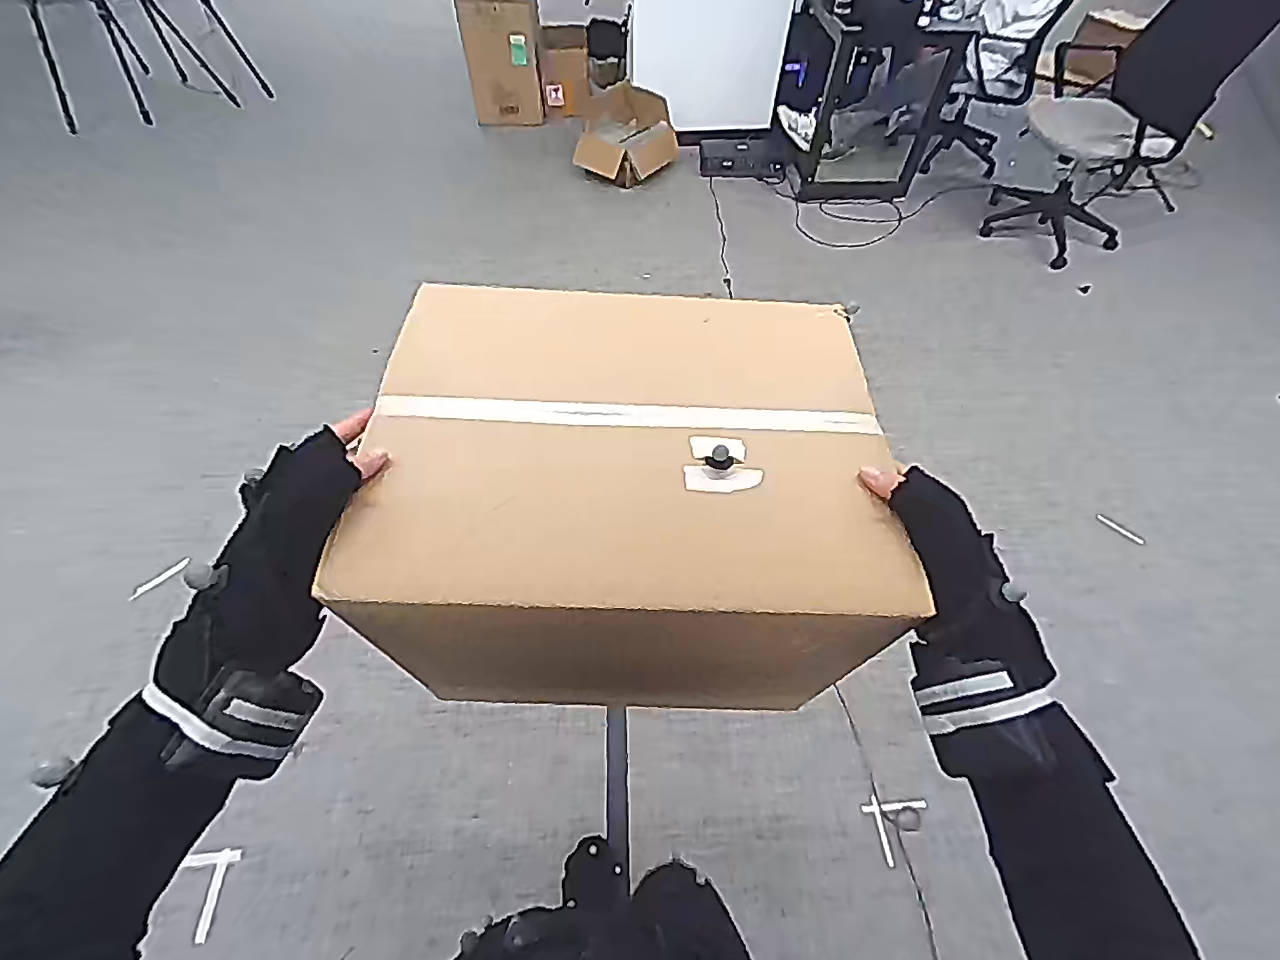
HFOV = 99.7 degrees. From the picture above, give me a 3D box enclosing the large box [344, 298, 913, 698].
[{"bbox_3d":[-0.013,0.036,0.576,0.408,0.320,0.320,3,56,-2],"label":"large box"}]
